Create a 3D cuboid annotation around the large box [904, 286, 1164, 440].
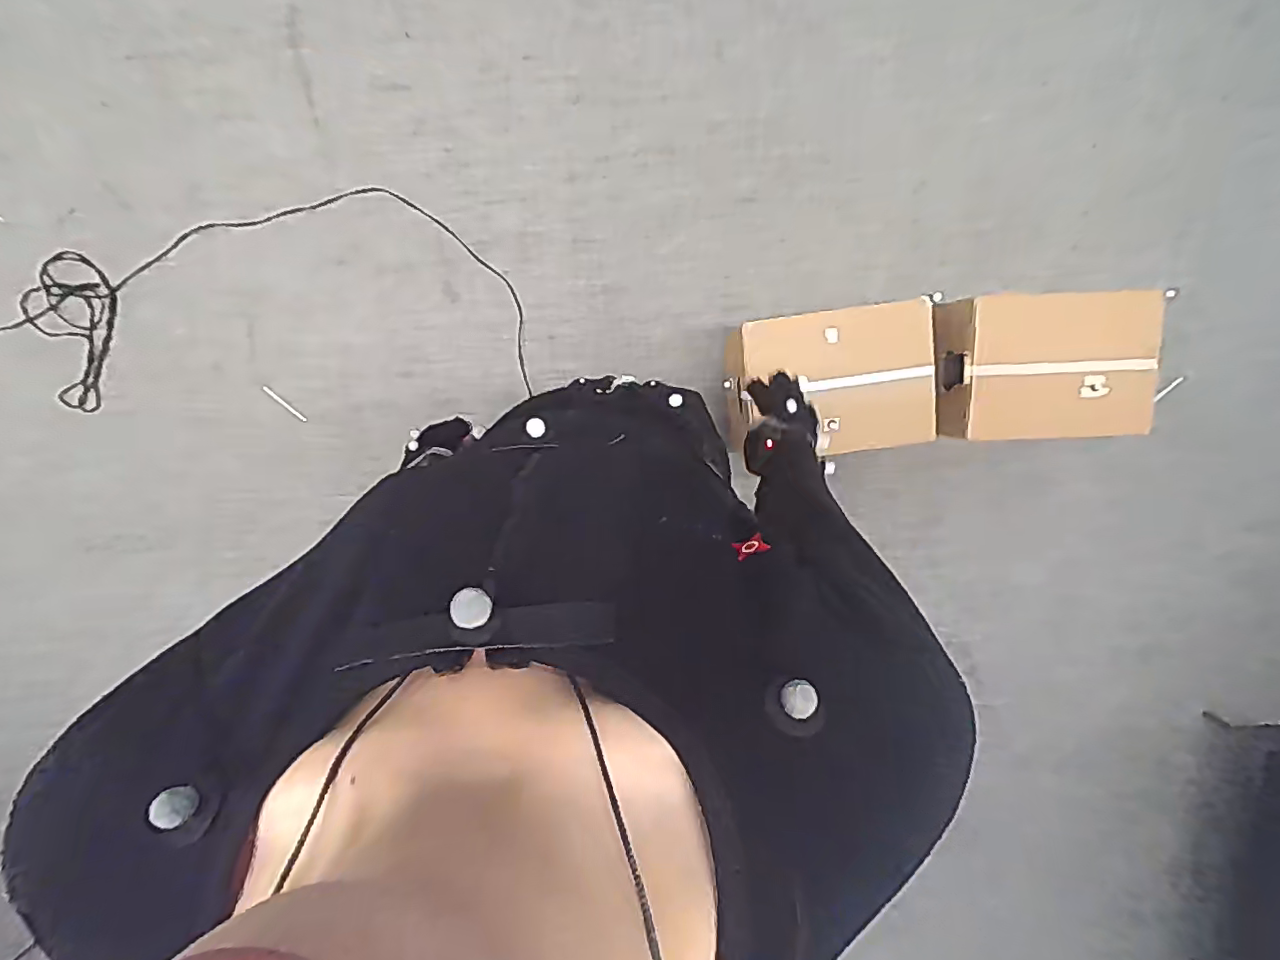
[{"bbox_3d":[0.906,-0.271,1.302,0.408,0.320,0.320,-2,100,0],"label":"large box"}]
